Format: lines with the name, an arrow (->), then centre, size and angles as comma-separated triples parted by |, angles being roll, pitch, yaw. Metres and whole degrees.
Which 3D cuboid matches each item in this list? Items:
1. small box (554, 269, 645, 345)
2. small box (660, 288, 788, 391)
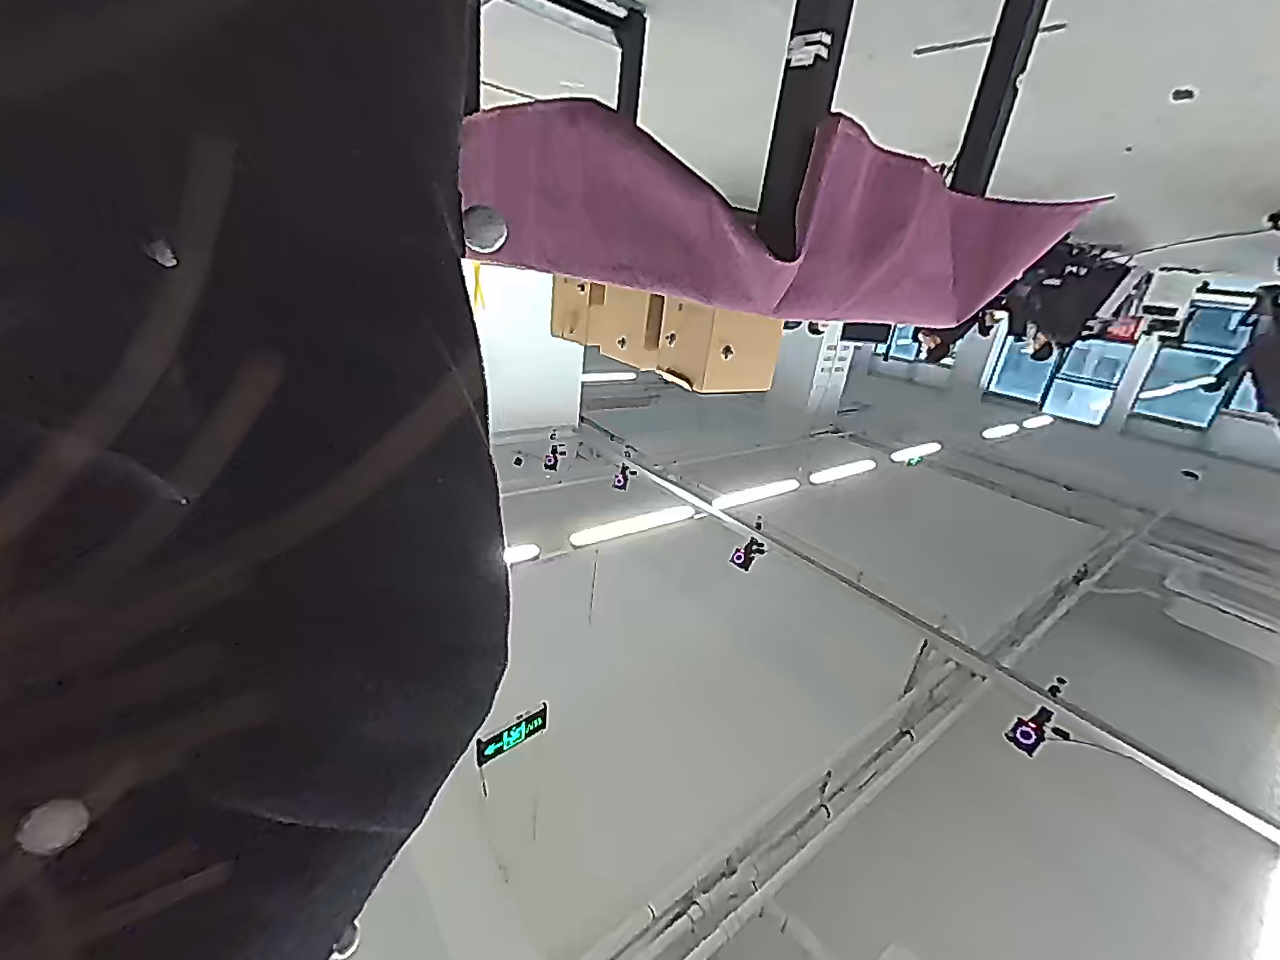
small box -> -0.106, -0.453, 1.410 | 0.179, 0.176, 0.168 | -15, -149, -40
small box -> 0.161, -0.279, 1.060 | 0.179, 0.176, 0.168 | -8, -153, -30
